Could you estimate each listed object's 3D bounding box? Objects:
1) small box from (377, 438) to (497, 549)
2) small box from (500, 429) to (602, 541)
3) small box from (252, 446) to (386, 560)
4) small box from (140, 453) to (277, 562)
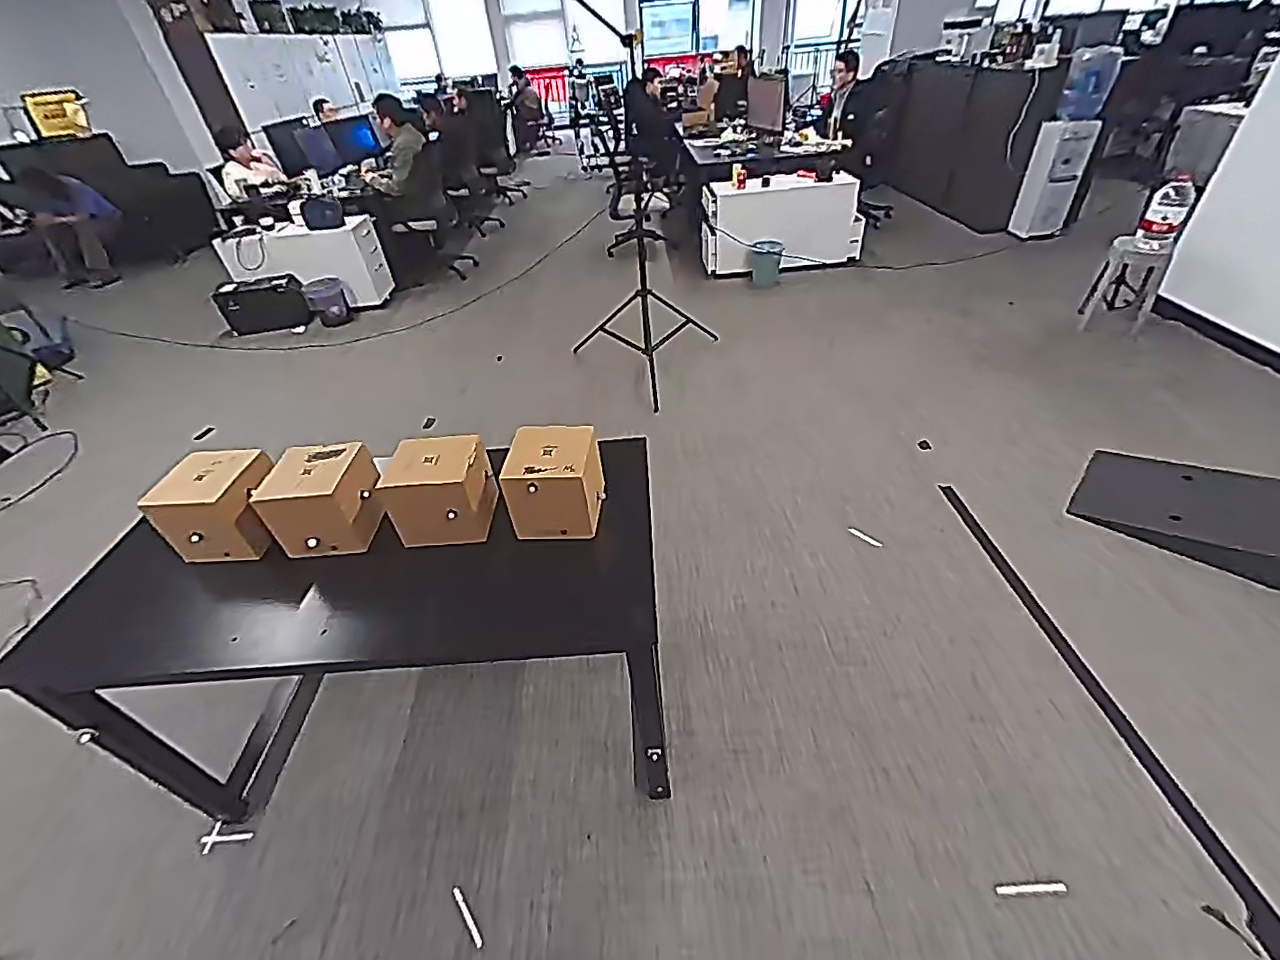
[{"bbox_3d":[-0.418,0.030,1.149,0.179,0.176,0.168,-5,38,2],"label":"small box"},{"bbox_3d":[-0.178,0.010,1.140,0.168,0.176,0.179,-2,38,6],"label":"small box"},{"bbox_3d":[-0.666,0.049,1.152,0.168,0.176,0.179,-5,40,0],"label":"small box"},{"bbox_3d":[-0.889,0.063,1.164,0.168,0.176,0.179,-2,39,3],"label":"small box"}]
